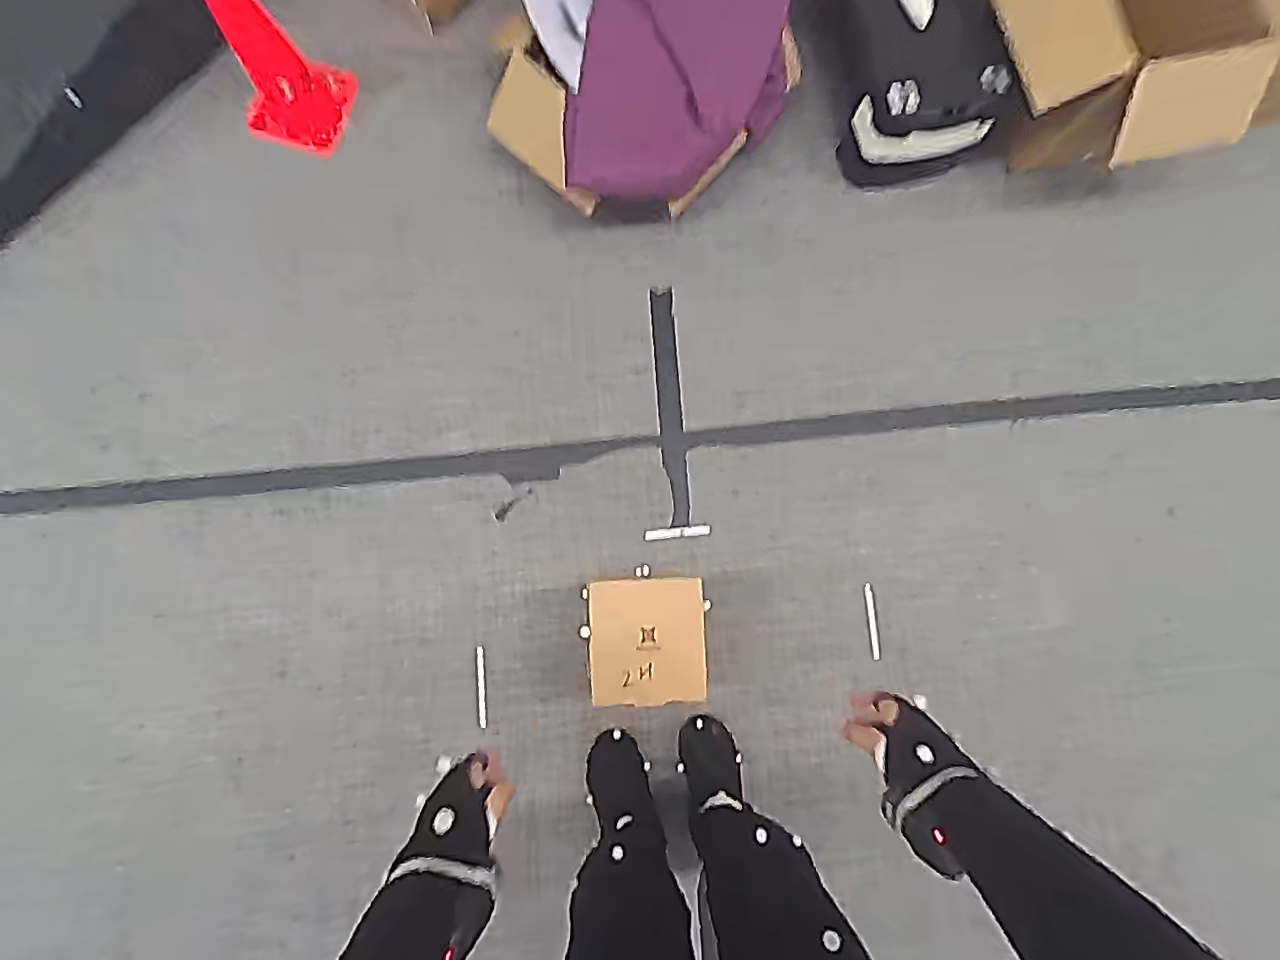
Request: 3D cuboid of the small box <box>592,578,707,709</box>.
[{"bbox_3d":[0.008,0.246,0.853,0.168,0.176,0.179,-1,83,-3],"label":"small box"}]
